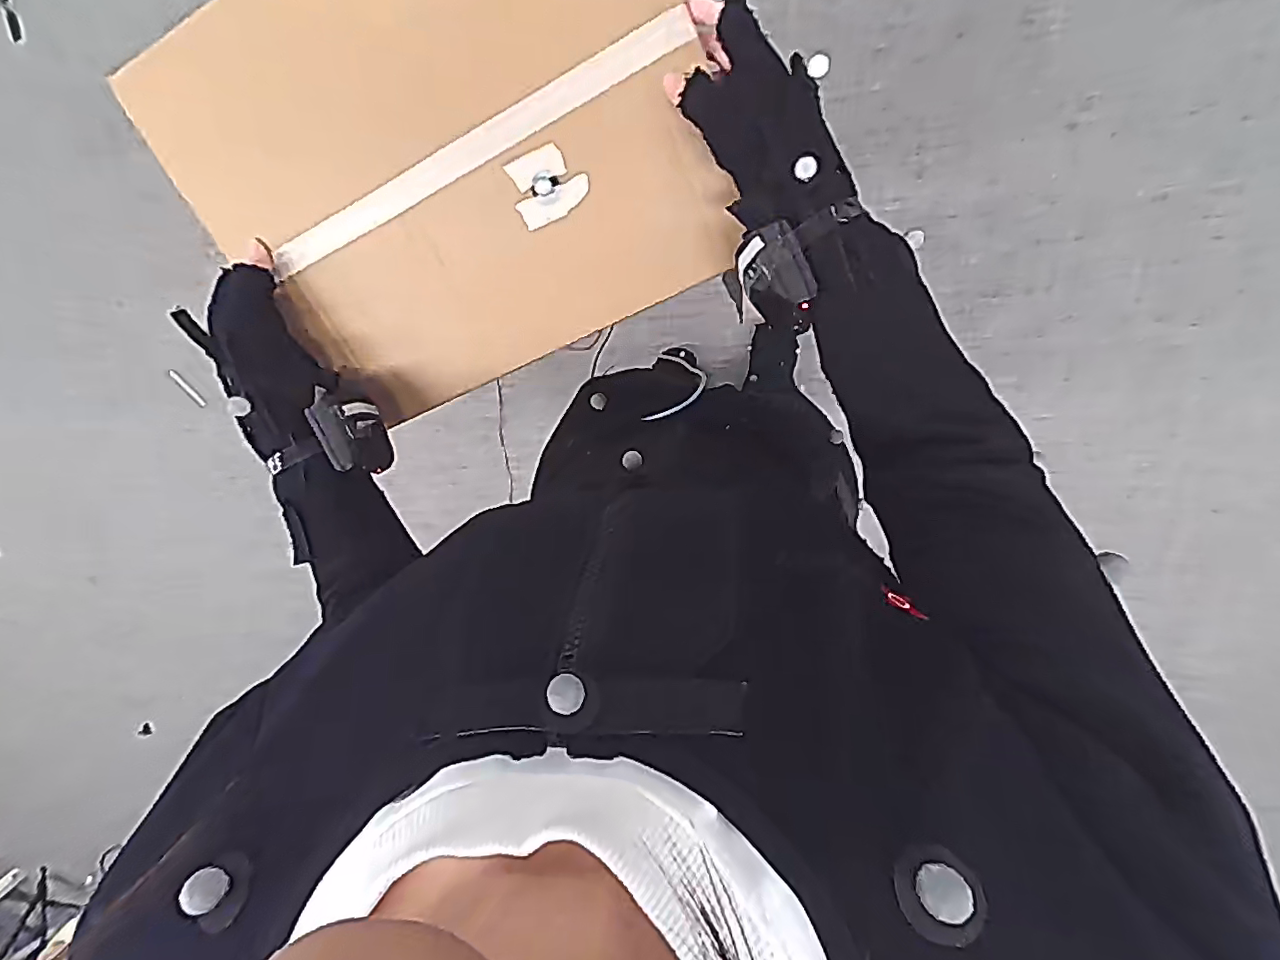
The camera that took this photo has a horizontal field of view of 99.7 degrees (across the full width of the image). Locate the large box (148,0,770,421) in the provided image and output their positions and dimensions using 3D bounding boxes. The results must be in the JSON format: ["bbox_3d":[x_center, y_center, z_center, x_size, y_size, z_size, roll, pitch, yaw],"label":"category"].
[{"bbox_3d":[-0.129,-0.313,0.555,0.408,0.320,0.320,-22,112,12],"label":"large box"}]
